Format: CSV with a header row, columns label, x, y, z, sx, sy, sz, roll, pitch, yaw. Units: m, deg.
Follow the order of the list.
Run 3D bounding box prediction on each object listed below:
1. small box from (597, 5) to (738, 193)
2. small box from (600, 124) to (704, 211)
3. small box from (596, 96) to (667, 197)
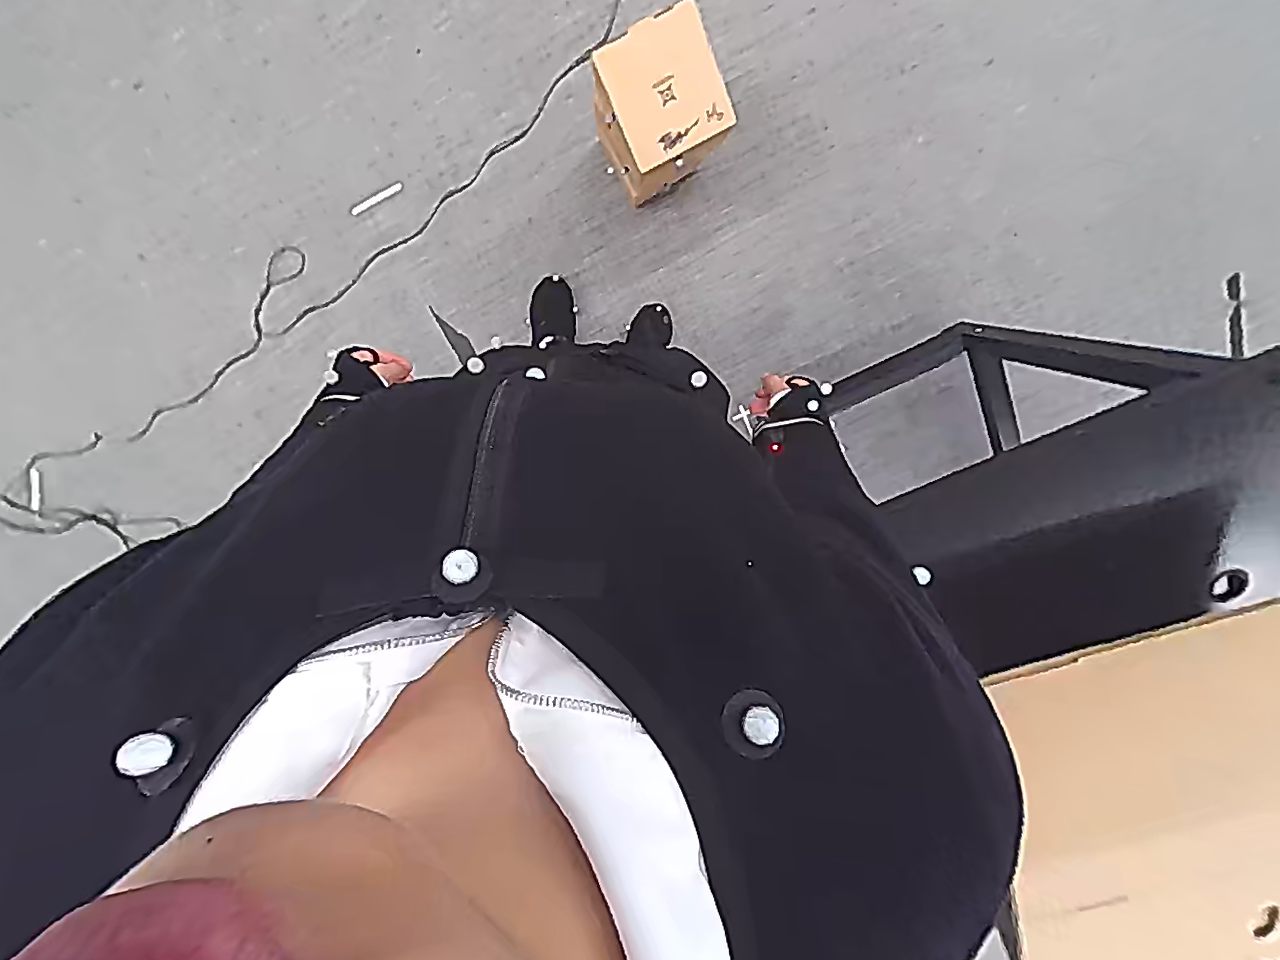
label,x,y,z,sx,sy,sz,roll,pitch,yaw
small box,0.040,-0.607,0.890,0.168,0.176,0.179,-24,108,7
small box,0.027,-0.724,1.193,0.179,0.176,0.168,-27,107,9
small box,0.034,-0.675,1.040,0.179,0.176,0.168,-32,108,8
